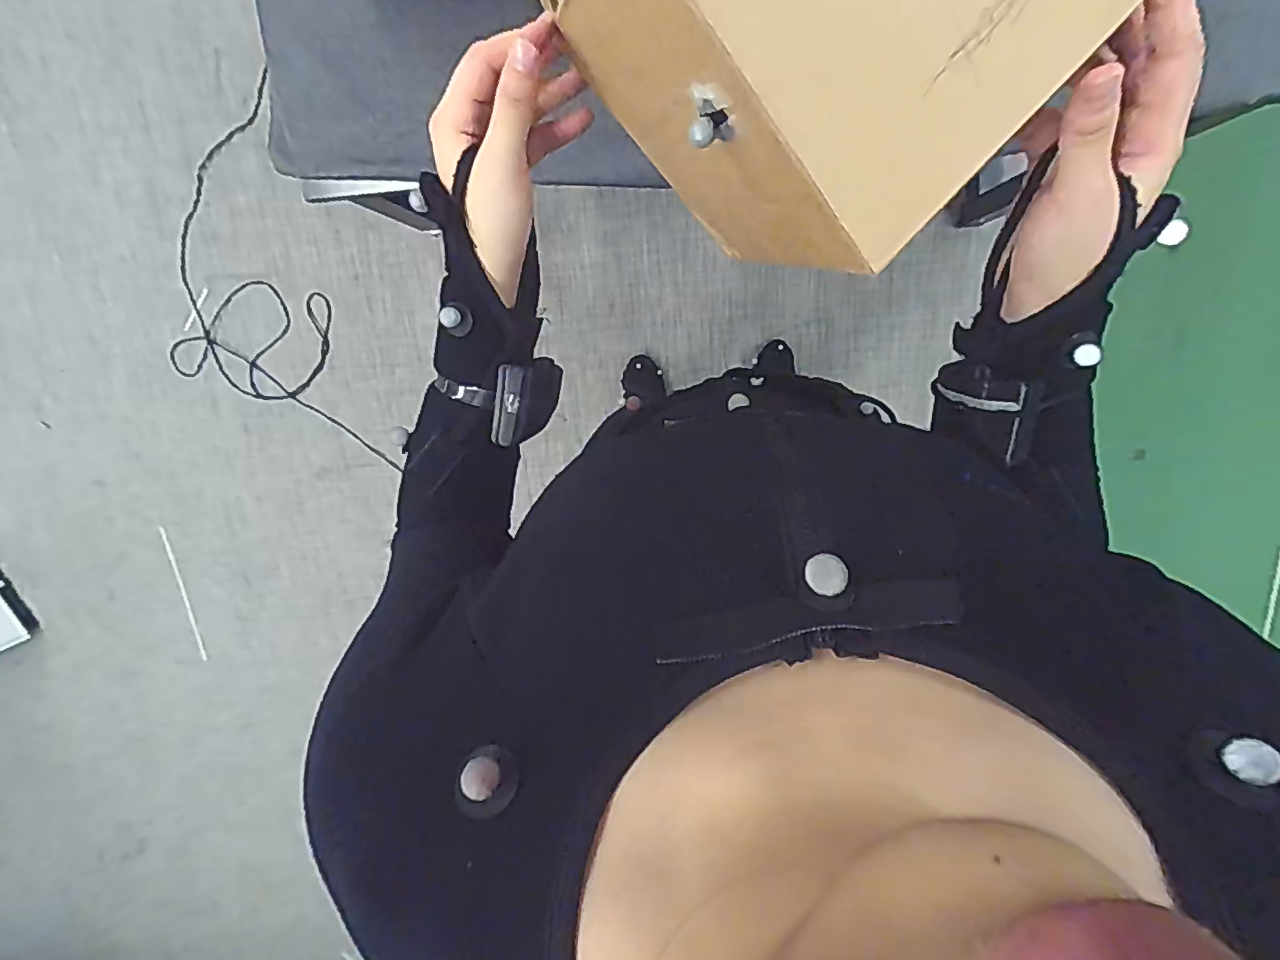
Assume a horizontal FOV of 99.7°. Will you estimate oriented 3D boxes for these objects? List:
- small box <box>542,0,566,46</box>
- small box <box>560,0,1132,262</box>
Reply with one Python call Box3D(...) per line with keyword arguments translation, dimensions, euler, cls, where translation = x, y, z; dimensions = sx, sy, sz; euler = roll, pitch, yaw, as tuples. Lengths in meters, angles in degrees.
Box3D(translation=(-0.046, -0.568, 0.532), dimensions=(0.168, 0.176, 0.179), euler=(-27, 100, 11), cls="small box")
Box3D(translation=(0.079, -0.233, 0.267), dimensions=(0.168, 0.176, 0.179), euler=(-45, 117, 8), cls="small box")
